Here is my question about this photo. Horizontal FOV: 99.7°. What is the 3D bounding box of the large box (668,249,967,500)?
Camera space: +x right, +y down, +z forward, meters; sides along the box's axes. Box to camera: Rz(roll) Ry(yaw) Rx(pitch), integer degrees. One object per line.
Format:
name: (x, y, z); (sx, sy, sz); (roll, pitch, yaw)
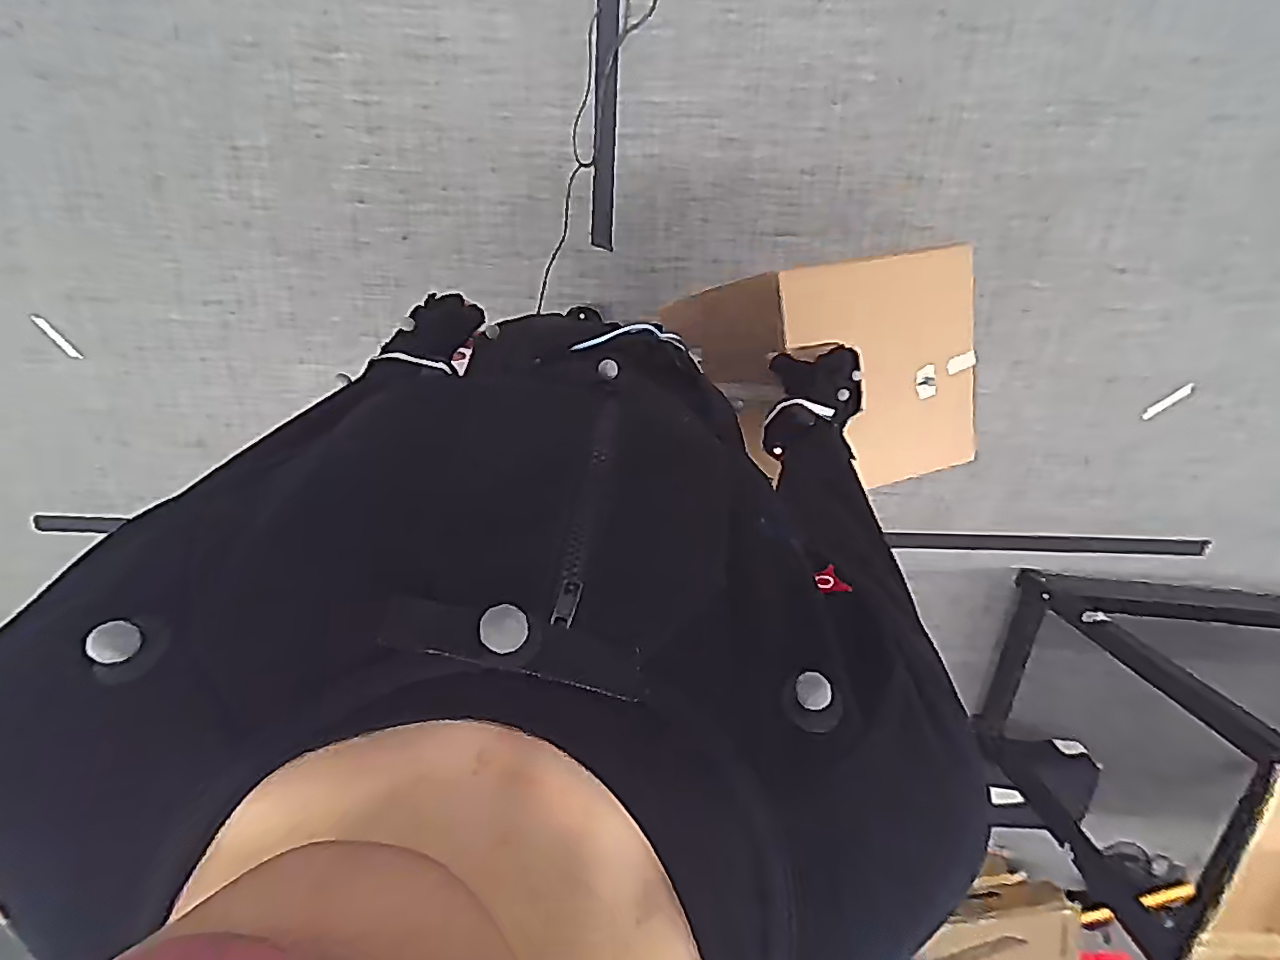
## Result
large box: (0.278, -0.183, 0.933); (0.320, 0.408, 0.320); (-12, 104, -15)
